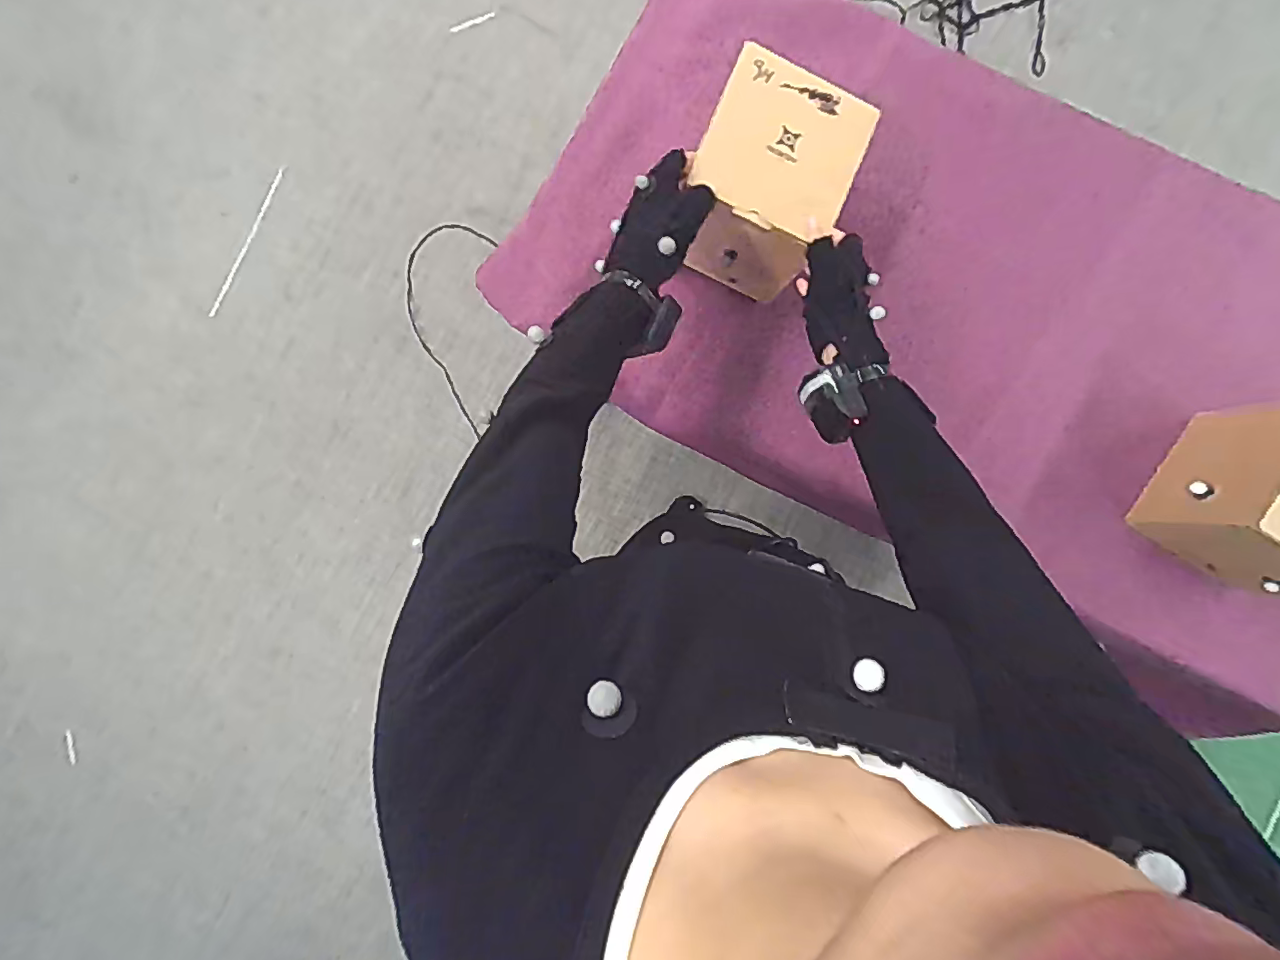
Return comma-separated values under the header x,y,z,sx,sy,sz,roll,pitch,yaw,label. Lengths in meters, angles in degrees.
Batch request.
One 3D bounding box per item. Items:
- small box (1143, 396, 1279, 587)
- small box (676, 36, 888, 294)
x,y,z,sx,sy,sz,roll,pitch,yaw,label
0.751,0.018,0.622,0.168,0.176,0.179,34,91,4,small box
0.152,-0.353,0.647,0.168,0.176,0.179,24,88,-5,small box
